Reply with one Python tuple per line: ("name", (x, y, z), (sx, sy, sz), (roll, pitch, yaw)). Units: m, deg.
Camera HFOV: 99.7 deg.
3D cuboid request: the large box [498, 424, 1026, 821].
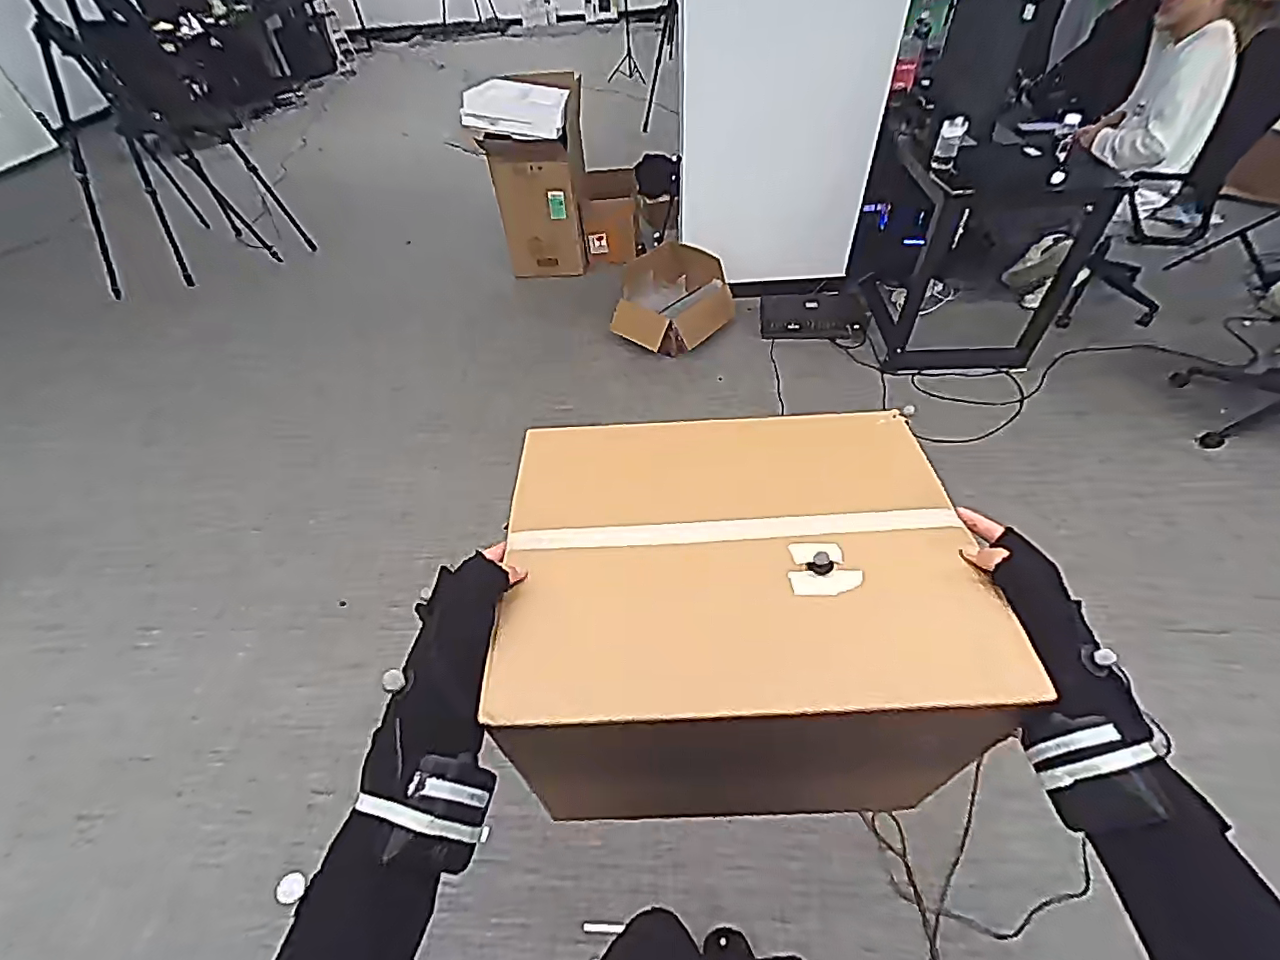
("large box", (0.090, 0.162, 0.607), (0.408, 0.320, 0.320), (-3, 47, 1))
